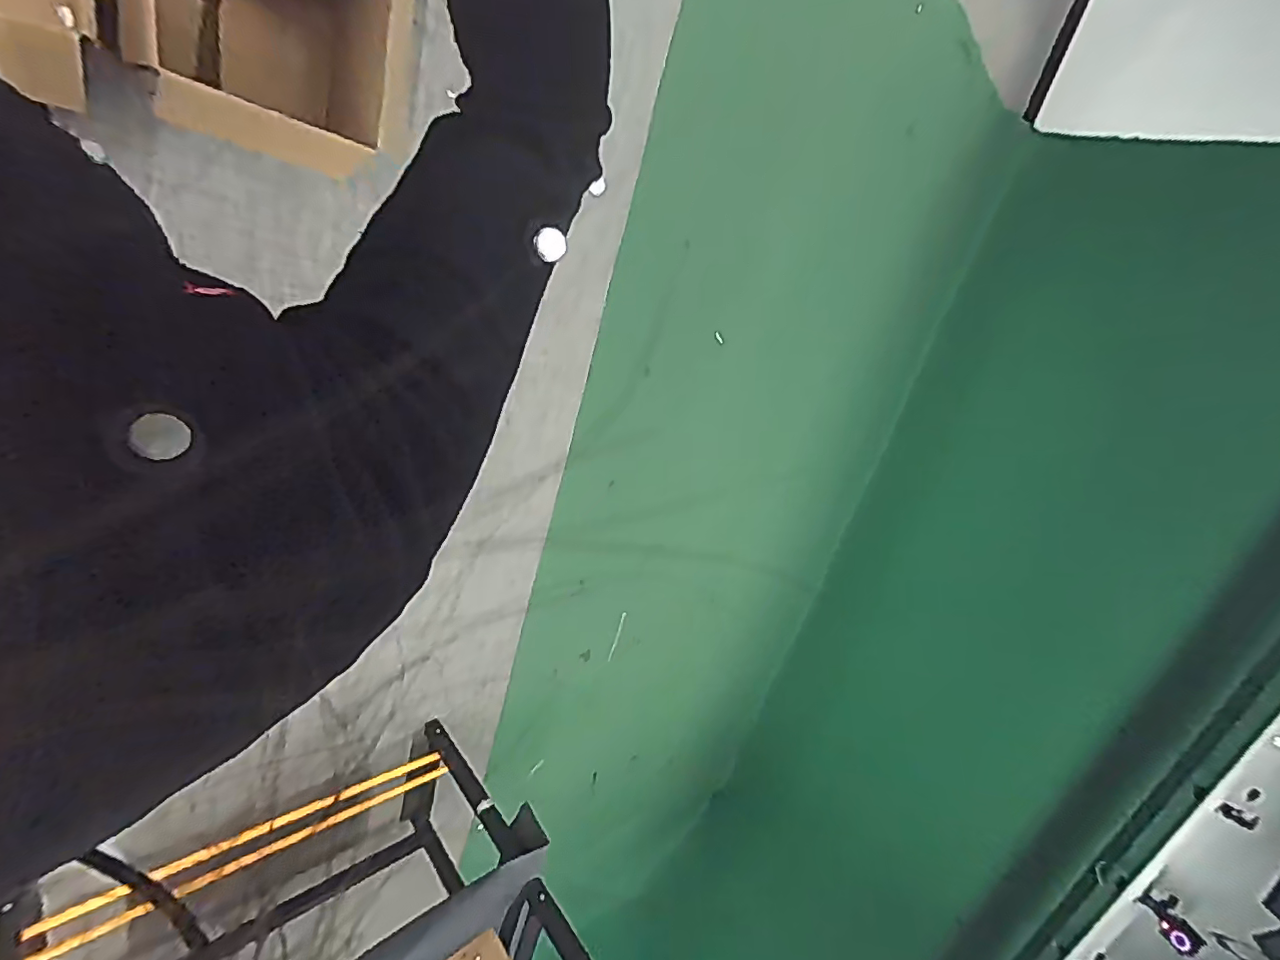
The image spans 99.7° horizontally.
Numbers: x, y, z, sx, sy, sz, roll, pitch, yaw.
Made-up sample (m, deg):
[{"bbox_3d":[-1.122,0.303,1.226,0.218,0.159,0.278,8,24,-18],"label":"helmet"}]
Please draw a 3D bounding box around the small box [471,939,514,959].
[{"bbox_3d":[-0.452,1.541,1.613,0.168,0.176,0.179,-5,118,-46],"label":"small box"}]
